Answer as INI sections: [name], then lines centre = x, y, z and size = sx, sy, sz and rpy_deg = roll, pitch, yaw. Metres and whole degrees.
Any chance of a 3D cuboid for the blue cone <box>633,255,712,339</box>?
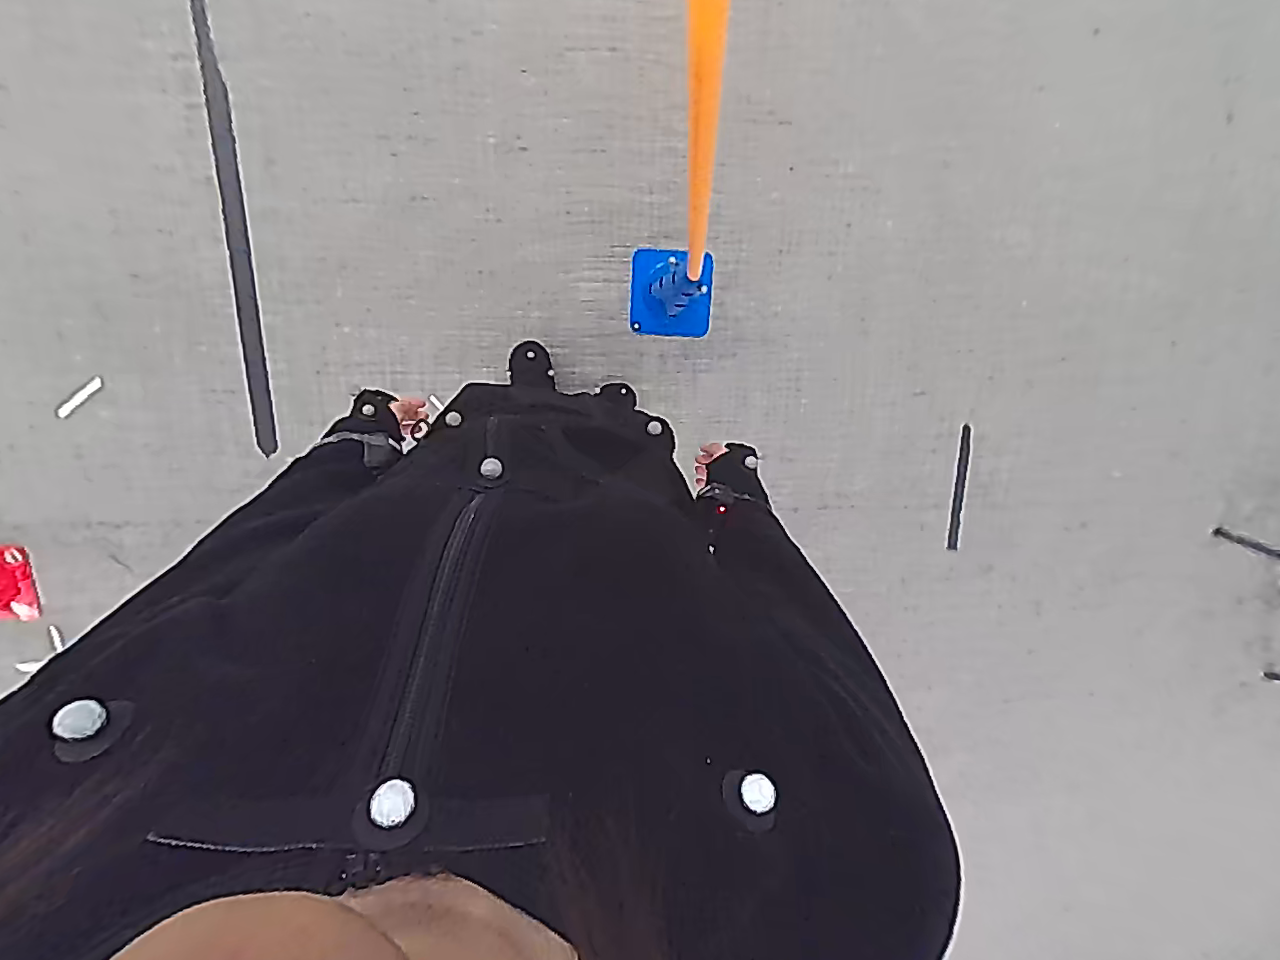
[blue cone]
centre = 0.092, -0.407, 1.169
size = 0.193, 0.380, 0.192
rpy_deg = 4, 104, -5
